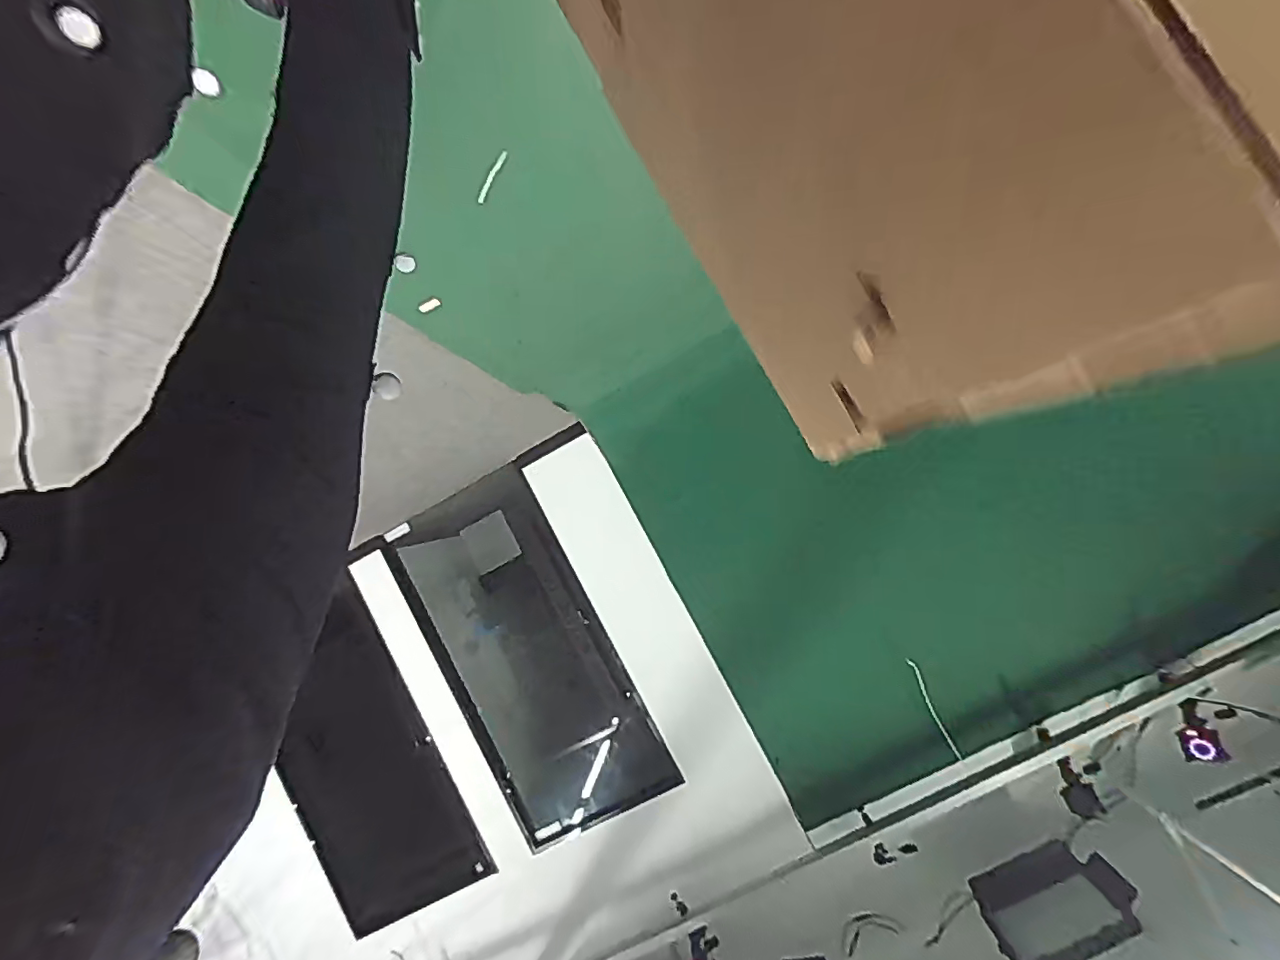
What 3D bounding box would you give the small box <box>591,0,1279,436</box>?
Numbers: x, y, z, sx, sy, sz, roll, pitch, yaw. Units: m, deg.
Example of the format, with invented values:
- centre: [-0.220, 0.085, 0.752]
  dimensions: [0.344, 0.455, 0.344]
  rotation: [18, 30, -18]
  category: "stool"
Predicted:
- centre: [0.090, -0.133, 0.127]
  dimensions: [0.179, 0.176, 0.168]
  rotation: [-31, 177, 3]
  category: "small box"
